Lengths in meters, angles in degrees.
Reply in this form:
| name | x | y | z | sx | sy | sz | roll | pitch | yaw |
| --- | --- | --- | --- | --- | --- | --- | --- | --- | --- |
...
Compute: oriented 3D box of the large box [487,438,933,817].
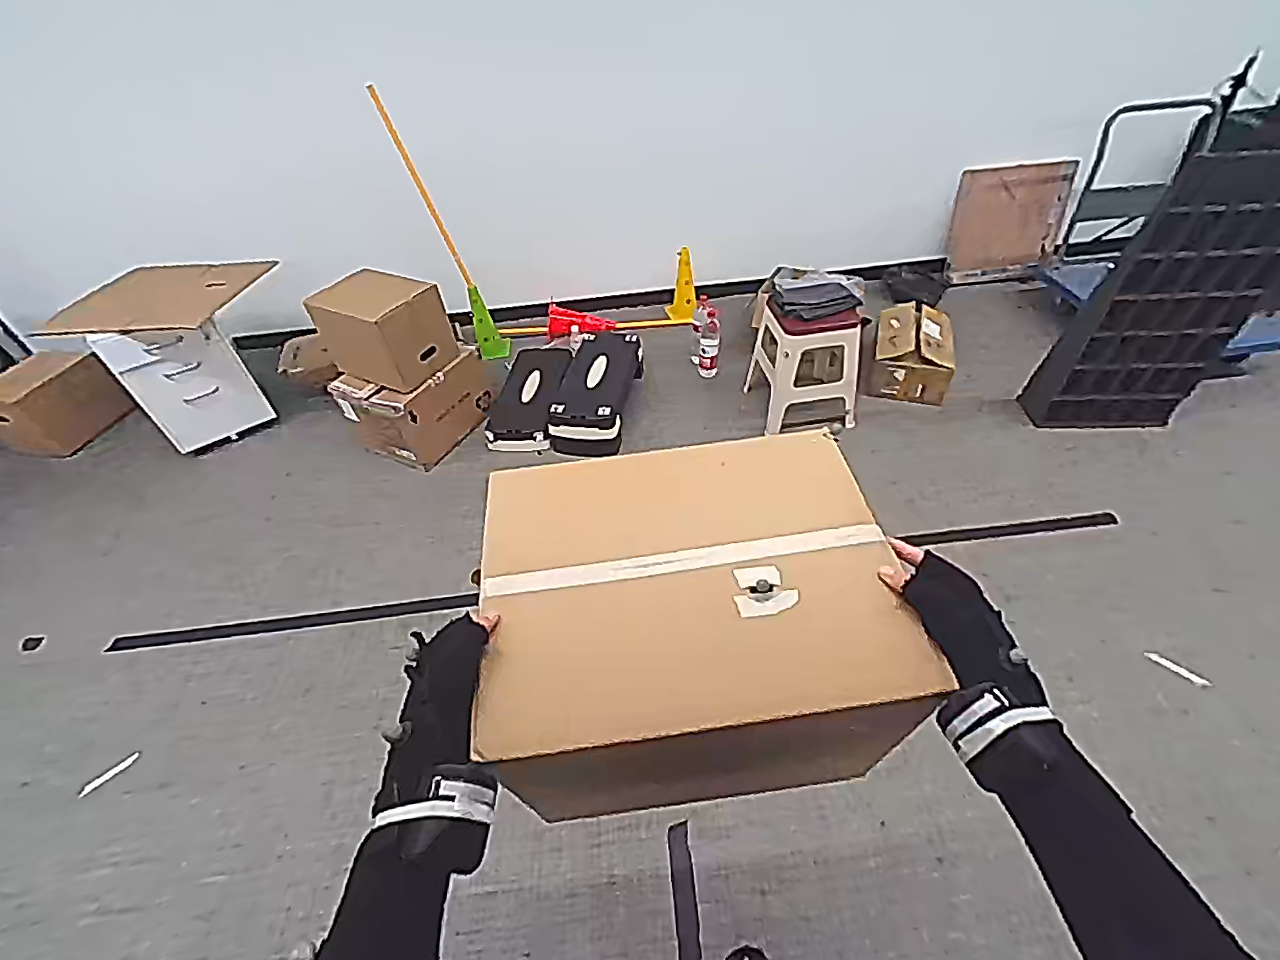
| name | x | y | z | sx | sy | sz | roll | pitch | yaw |
| --- | --- | --- | --- | --- | --- | --- | --- | --- | --- |
| large box | 0.050 | 0.187 | 0.672 | 0.408 | 0.320 | 0.320 | -8 | 51 | -3 |
